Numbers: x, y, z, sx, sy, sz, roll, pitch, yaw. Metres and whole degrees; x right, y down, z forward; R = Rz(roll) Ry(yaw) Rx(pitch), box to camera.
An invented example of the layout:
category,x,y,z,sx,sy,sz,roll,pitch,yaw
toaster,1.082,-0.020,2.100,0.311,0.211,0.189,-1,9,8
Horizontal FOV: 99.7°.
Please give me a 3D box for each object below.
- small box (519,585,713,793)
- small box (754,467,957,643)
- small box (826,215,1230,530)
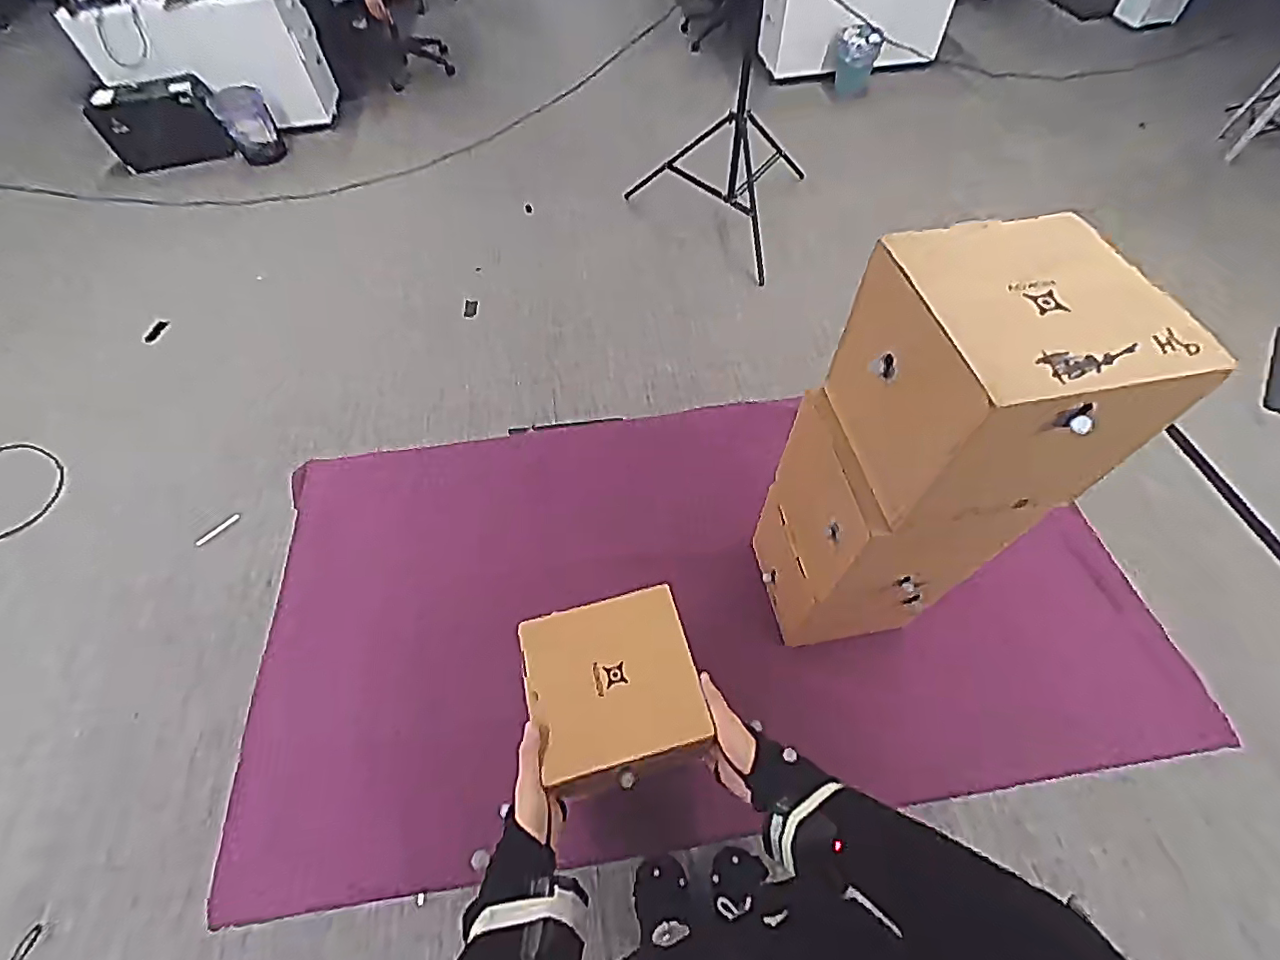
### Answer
category,x,y,z,sx,sy,sz,roll,pitch,yaw
small box,-0.028,0.247,0.628,0.179,0.176,0.168,-14,56,-6
small box,0.265,0.101,0.713,0.179,0.176,0.168,-10,56,-3
small box,0.273,-0.083,0.441,0.168,0.176,0.179,-9,56,-4
